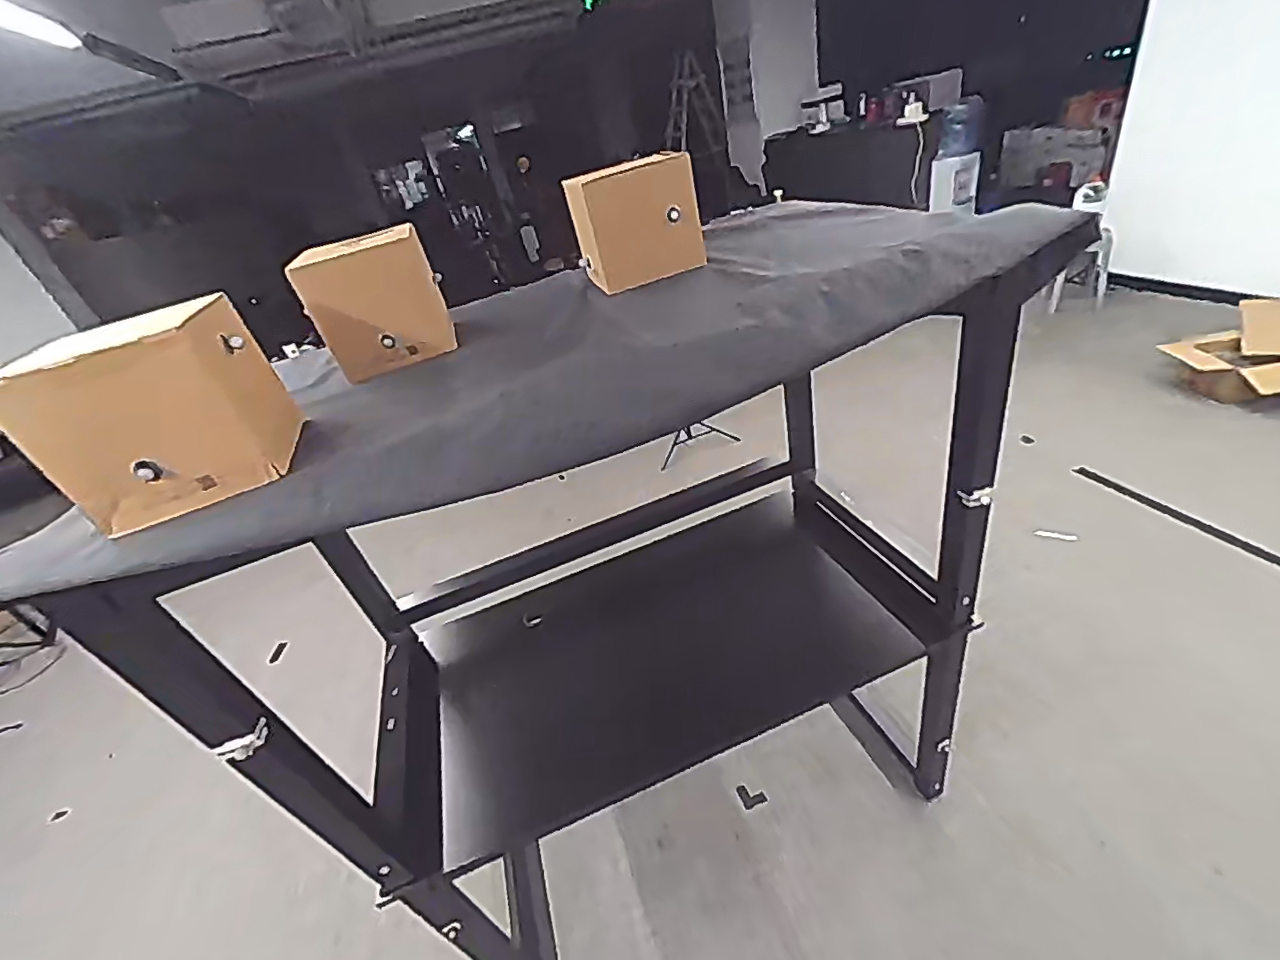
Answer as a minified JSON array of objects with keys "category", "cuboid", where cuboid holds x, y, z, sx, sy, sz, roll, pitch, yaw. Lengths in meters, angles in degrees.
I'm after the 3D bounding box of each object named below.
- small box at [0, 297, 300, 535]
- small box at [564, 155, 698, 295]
[{"category":"small box","cuboid":[-0.490,-0.073,0.567,0.168,0.176,0.179,-23,35,-12]},{"category":"small box","cuboid":[-0.011,-0.427,0.903,0.179,0.176,0.168,-20,32,-7]}]
